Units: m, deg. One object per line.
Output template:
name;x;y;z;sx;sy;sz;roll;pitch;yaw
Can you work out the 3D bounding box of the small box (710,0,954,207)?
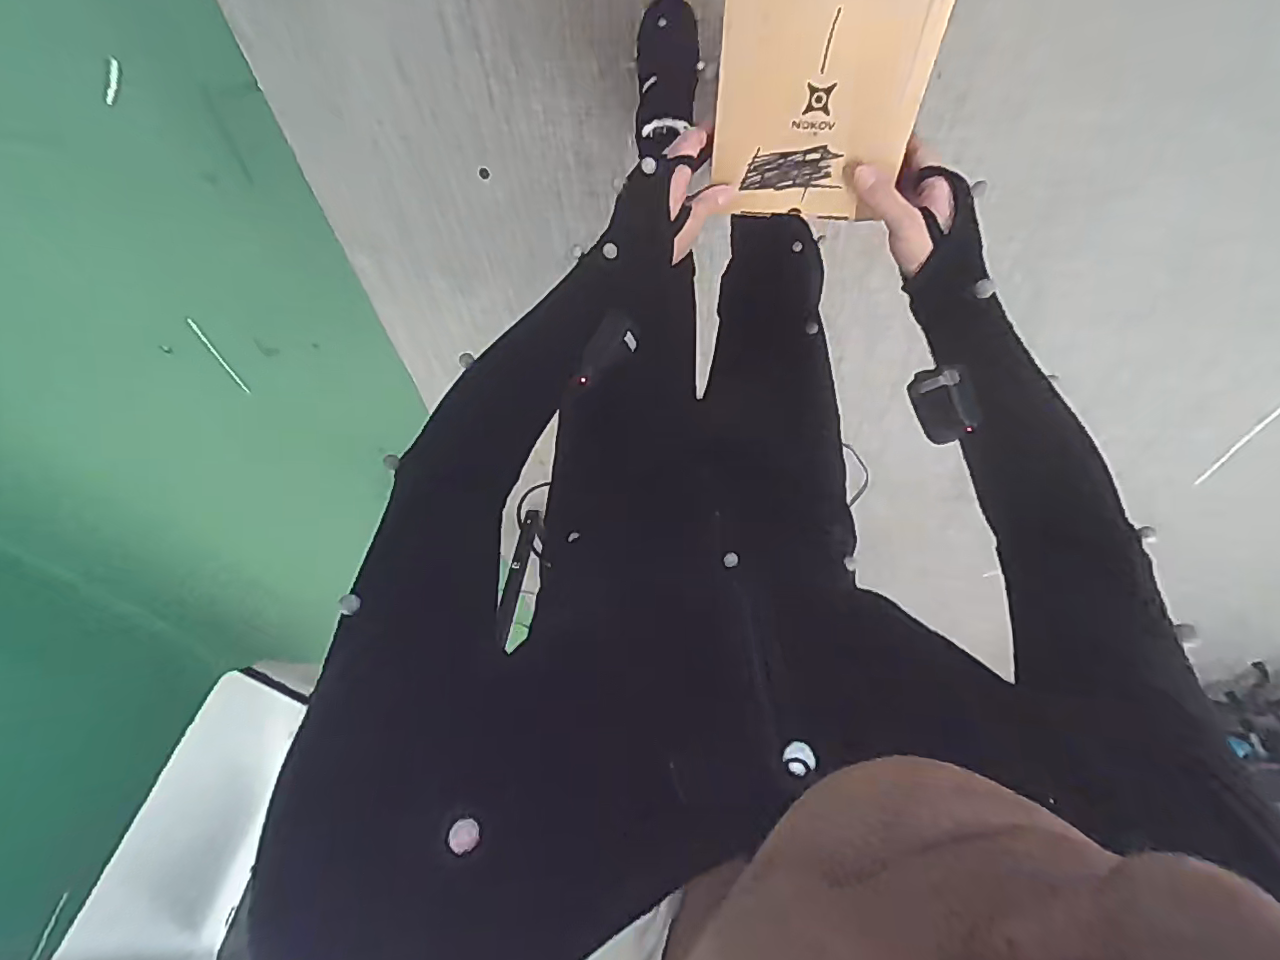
small box;0.159;-0.375;0.489;0.168;0.176;0.179;6;139;7
